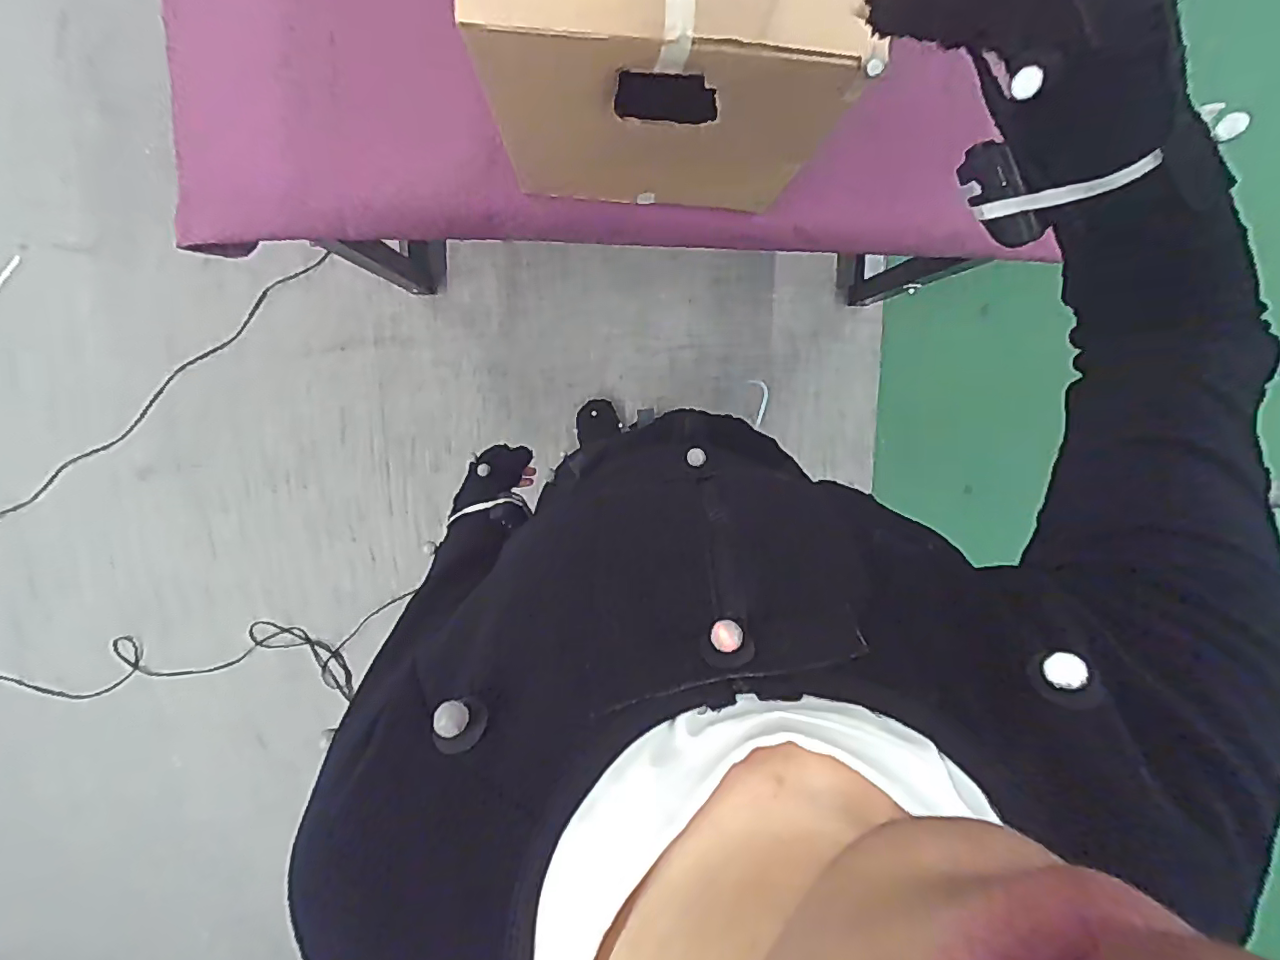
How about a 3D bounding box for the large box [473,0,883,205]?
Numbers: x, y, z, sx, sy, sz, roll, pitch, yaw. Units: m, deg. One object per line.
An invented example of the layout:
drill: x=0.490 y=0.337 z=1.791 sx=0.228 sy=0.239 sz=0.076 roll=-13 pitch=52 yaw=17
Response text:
large box: x=0.027 y=-0.539 z=0.522 sx=0.320 sy=0.320 sz=0.408 roll=2 pitch=99 yaw=-4
